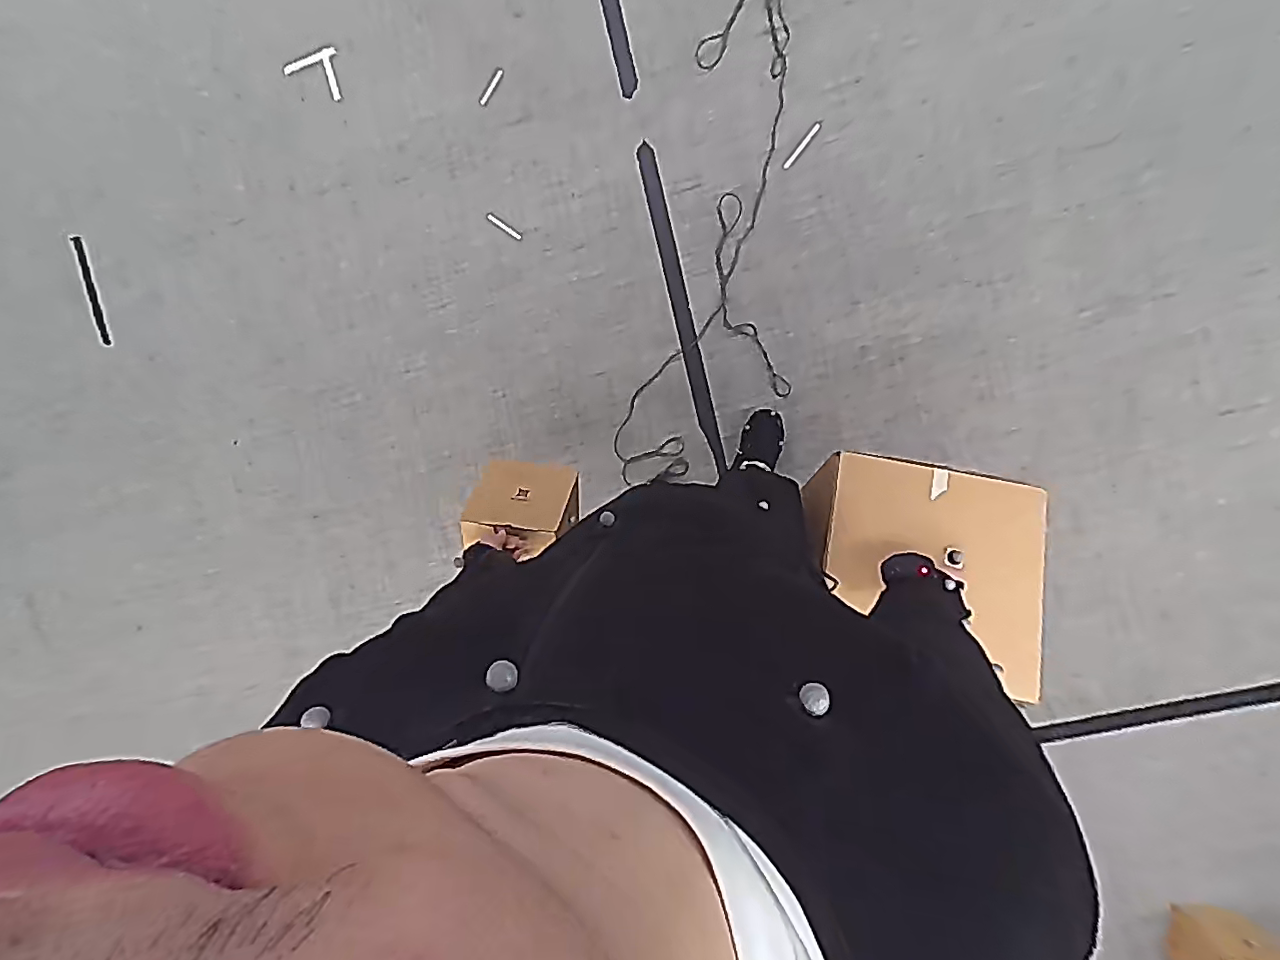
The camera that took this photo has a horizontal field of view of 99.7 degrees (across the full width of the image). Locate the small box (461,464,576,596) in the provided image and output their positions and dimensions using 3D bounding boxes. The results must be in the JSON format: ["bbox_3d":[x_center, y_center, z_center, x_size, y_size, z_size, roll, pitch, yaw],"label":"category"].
[{"bbox_3d":[-0.216,0.095,1.013,0.168,0.179,0.176,7,127,2],"label":"small box"}]
